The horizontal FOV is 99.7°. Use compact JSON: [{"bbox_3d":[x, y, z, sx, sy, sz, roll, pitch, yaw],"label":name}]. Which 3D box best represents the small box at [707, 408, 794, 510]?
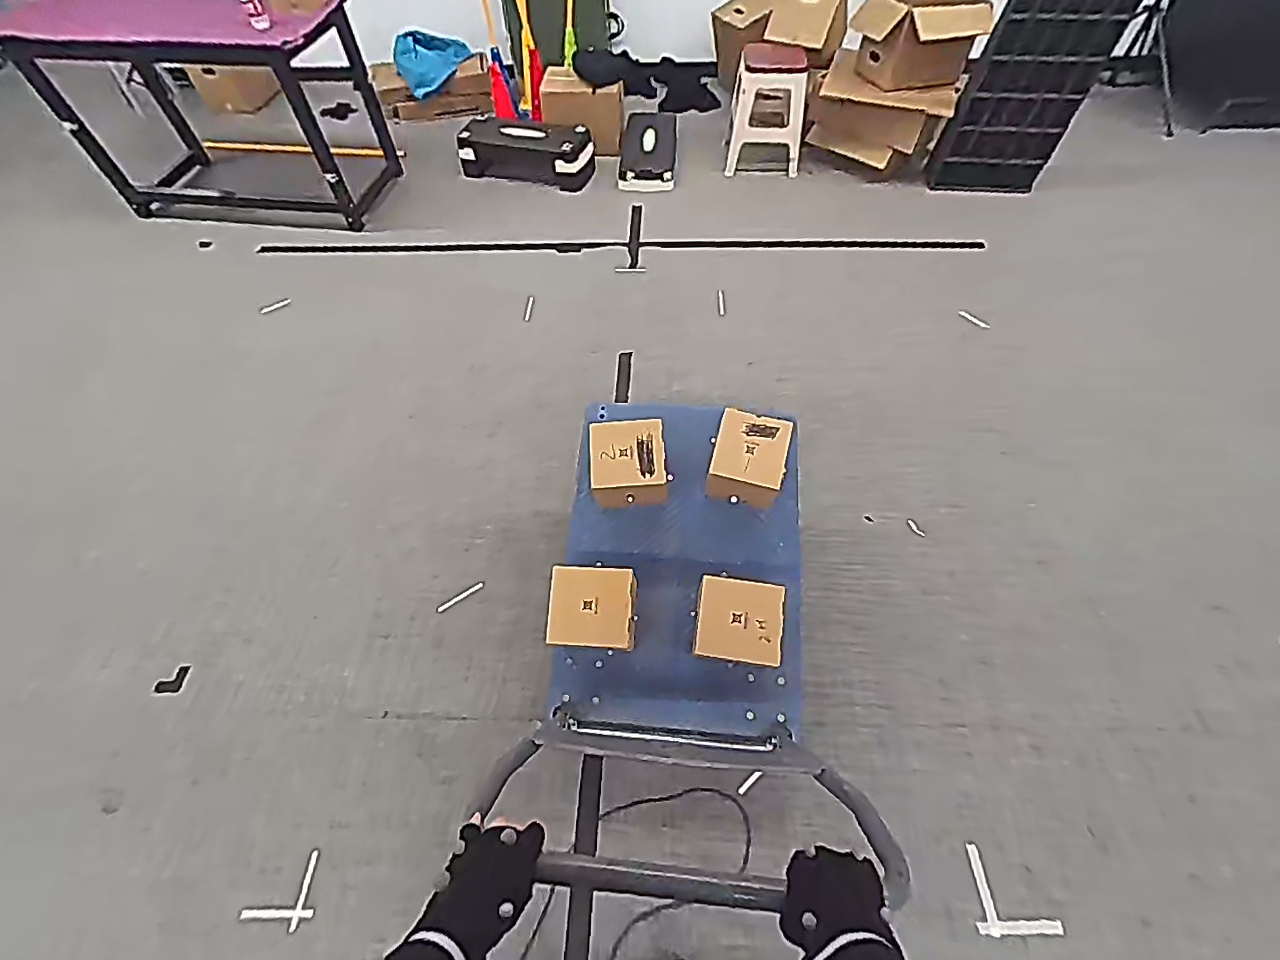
[{"bbox_3d":[0.264,-0.046,1.326,0.168,0.176,0.179,15,73,7],"label":"small box"}]

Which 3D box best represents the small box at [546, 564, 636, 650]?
[{"bbox_3d":[-0.103,0.291,1.219,0.179,0.176,0.168,2,70,2],"label":"small box"}]

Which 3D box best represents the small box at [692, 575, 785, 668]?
[{"bbox_3d":[0.212,0.318,1.197,0.179,0.176,0.168,8,71,5],"label":"small box"}]
